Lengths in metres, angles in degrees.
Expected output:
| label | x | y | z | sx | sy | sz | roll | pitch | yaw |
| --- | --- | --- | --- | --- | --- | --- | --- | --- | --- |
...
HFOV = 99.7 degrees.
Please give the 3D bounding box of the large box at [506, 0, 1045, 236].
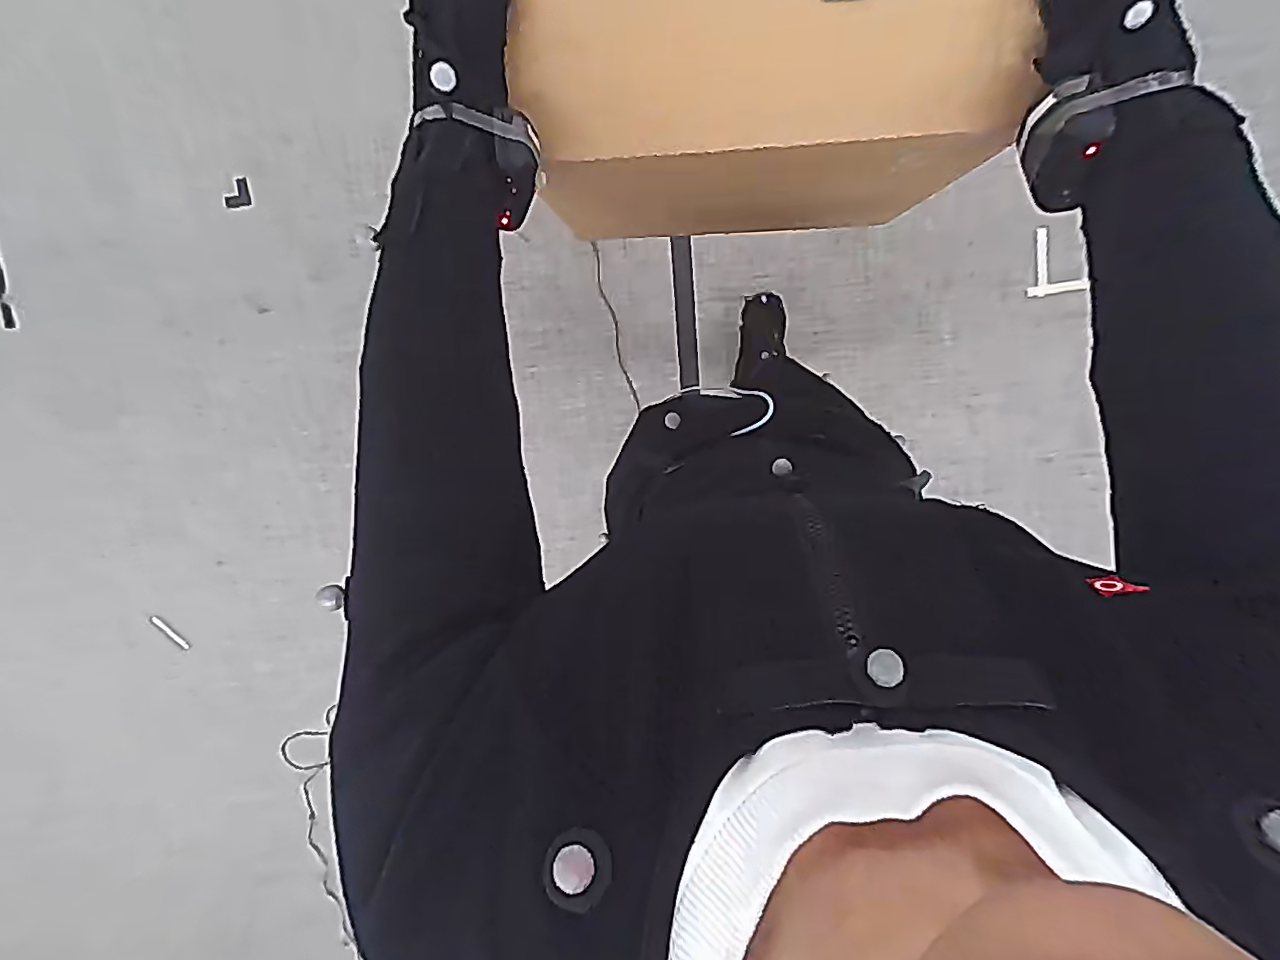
| label | x | y | z | sx | sy | sz | roll | pitch | yaw |
| --- | --- | --- | --- | --- | --- | --- | --- | --- | --- |
| large box | 0.099 | -0.451 | 0.533 | 0.408 | 0.320 | 0.320 | -2 | 103 | 4 |
